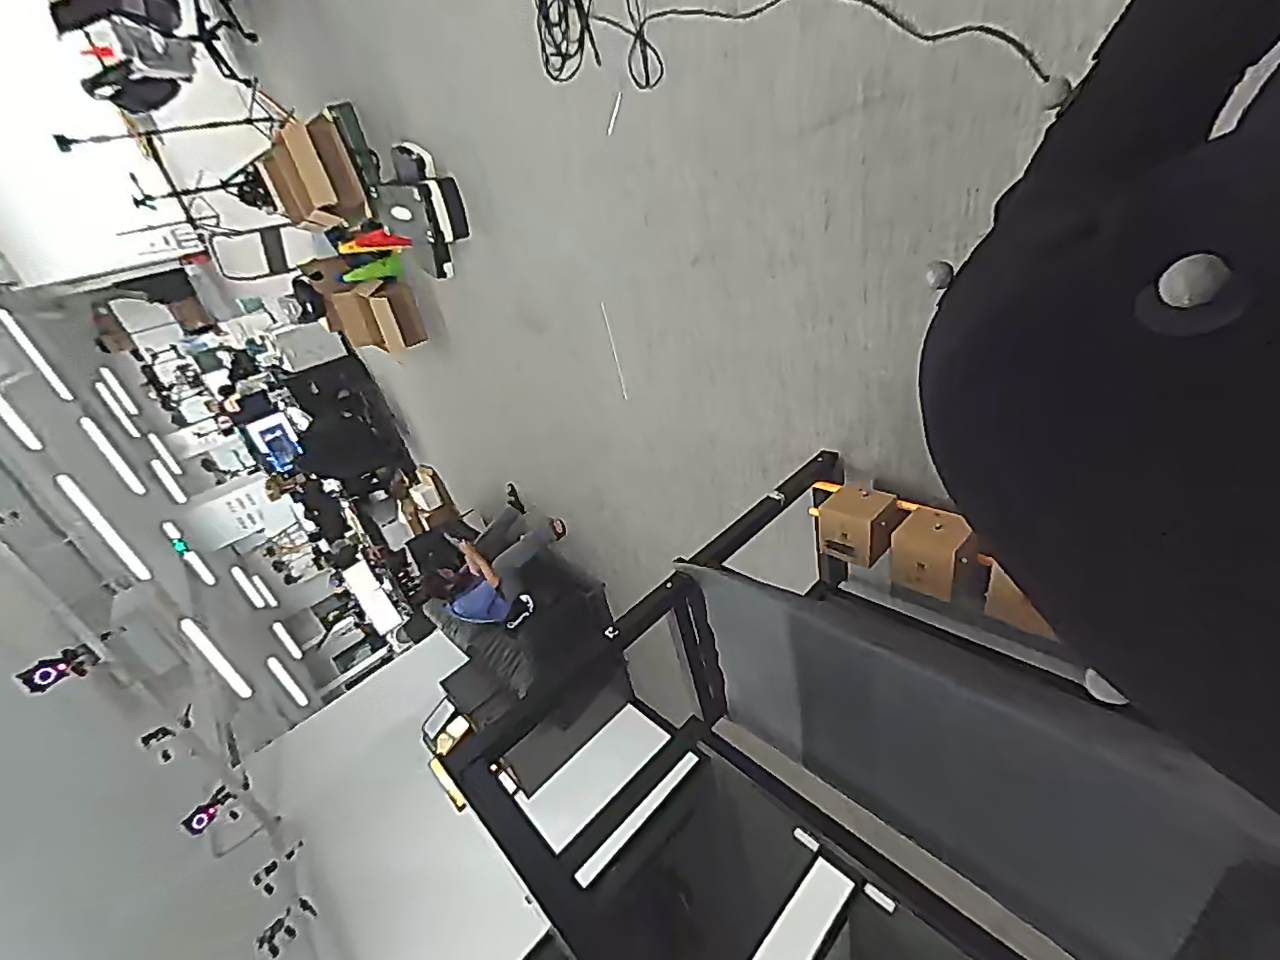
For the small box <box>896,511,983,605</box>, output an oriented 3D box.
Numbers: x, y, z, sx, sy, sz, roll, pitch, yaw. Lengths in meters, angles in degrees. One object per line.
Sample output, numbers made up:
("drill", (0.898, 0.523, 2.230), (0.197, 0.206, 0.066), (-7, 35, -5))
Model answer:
("small box", (0.837, 0.210, 1.511), (0.168, 0.176, 0.179), (17, 130, 45))
